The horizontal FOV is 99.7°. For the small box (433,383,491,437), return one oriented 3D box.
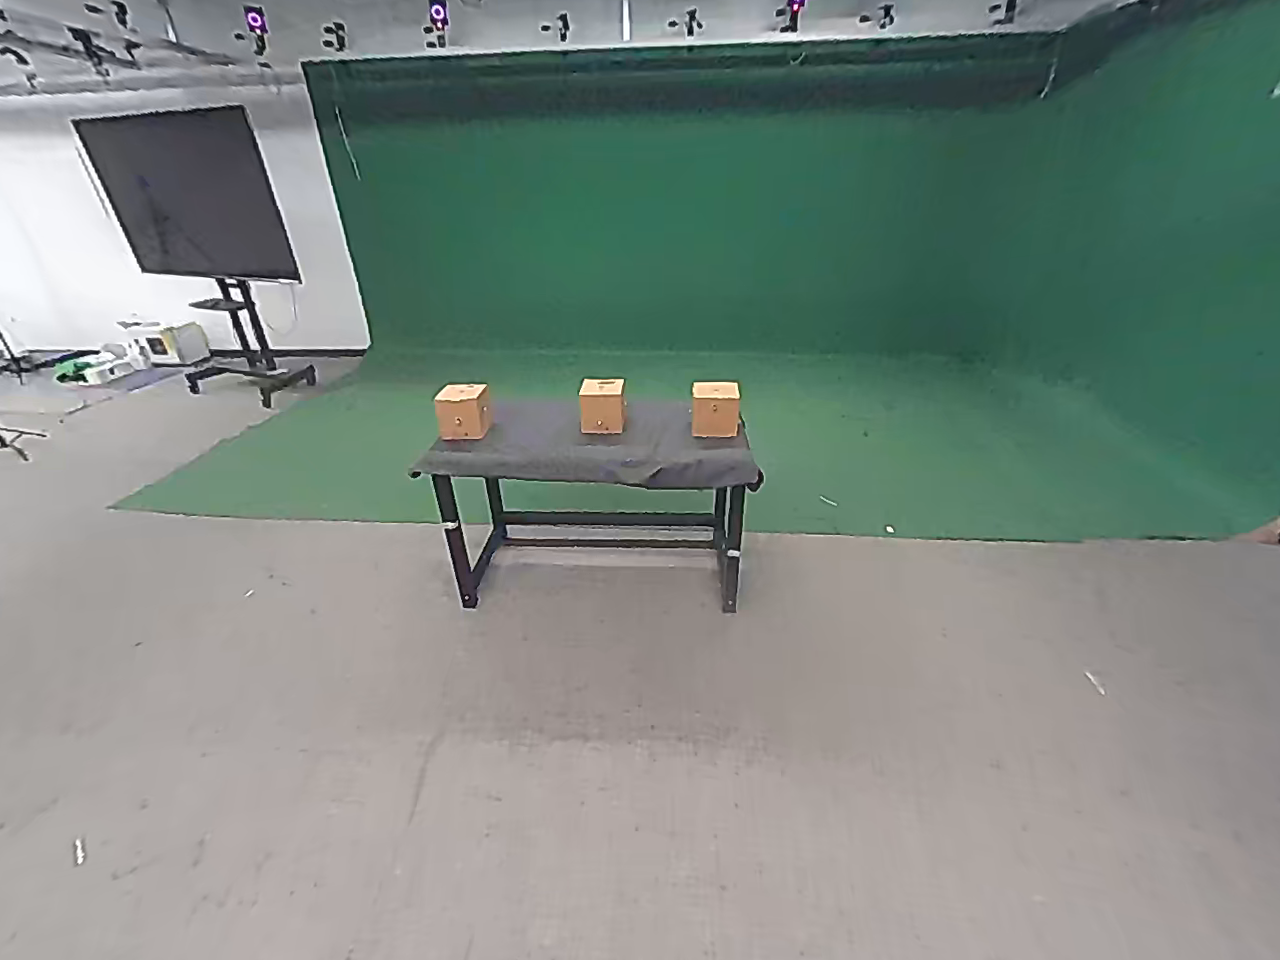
[{"bbox_3d":[-0.707,-0.282,2.172,0.168,0.176,0.179,0,30,0],"label":"small box"}]

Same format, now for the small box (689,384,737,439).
[{"bbox_3d":[0.287,-0.273,2.151,0.179,0.176,0.168,3,31,4],"label":"small box"}]

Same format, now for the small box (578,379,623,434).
[{"bbox_3d":[-0.156,-0.302,2.204,0.168,0.176,0.179,1,31,2],"label":"small box"}]
